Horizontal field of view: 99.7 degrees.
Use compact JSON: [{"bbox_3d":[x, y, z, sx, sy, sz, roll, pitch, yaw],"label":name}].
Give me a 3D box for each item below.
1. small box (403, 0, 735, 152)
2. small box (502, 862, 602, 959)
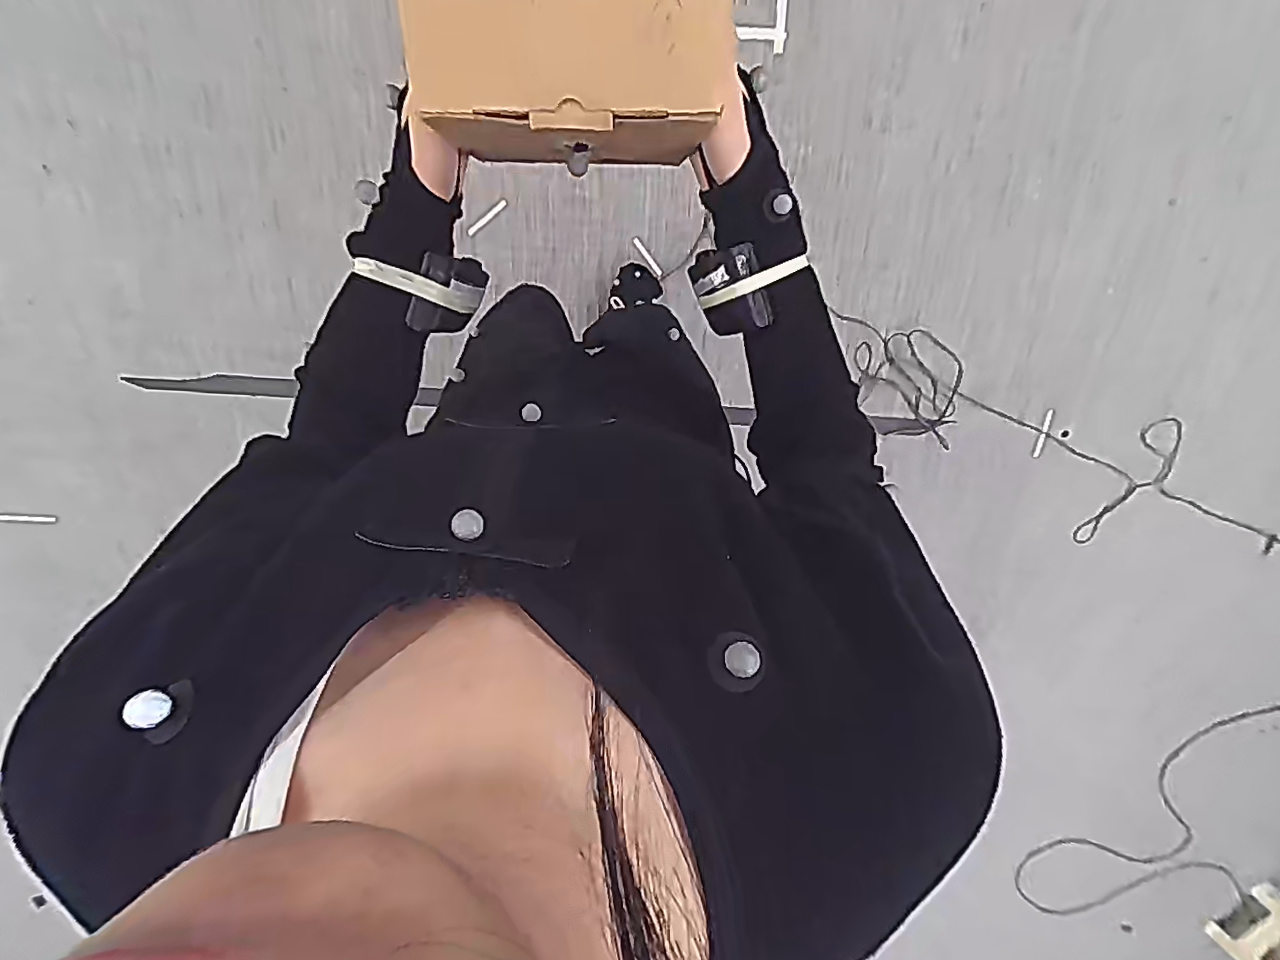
[{"bbox_3d":[-0.039,-0.306,0.322,0.168,0.176,0.179,-2,114,-4],"label":"small box"},{"bbox_3d":[-0.156,0.827,0.978,0.168,0.176,0.179,4,111,-4],"label":"small box"}]
